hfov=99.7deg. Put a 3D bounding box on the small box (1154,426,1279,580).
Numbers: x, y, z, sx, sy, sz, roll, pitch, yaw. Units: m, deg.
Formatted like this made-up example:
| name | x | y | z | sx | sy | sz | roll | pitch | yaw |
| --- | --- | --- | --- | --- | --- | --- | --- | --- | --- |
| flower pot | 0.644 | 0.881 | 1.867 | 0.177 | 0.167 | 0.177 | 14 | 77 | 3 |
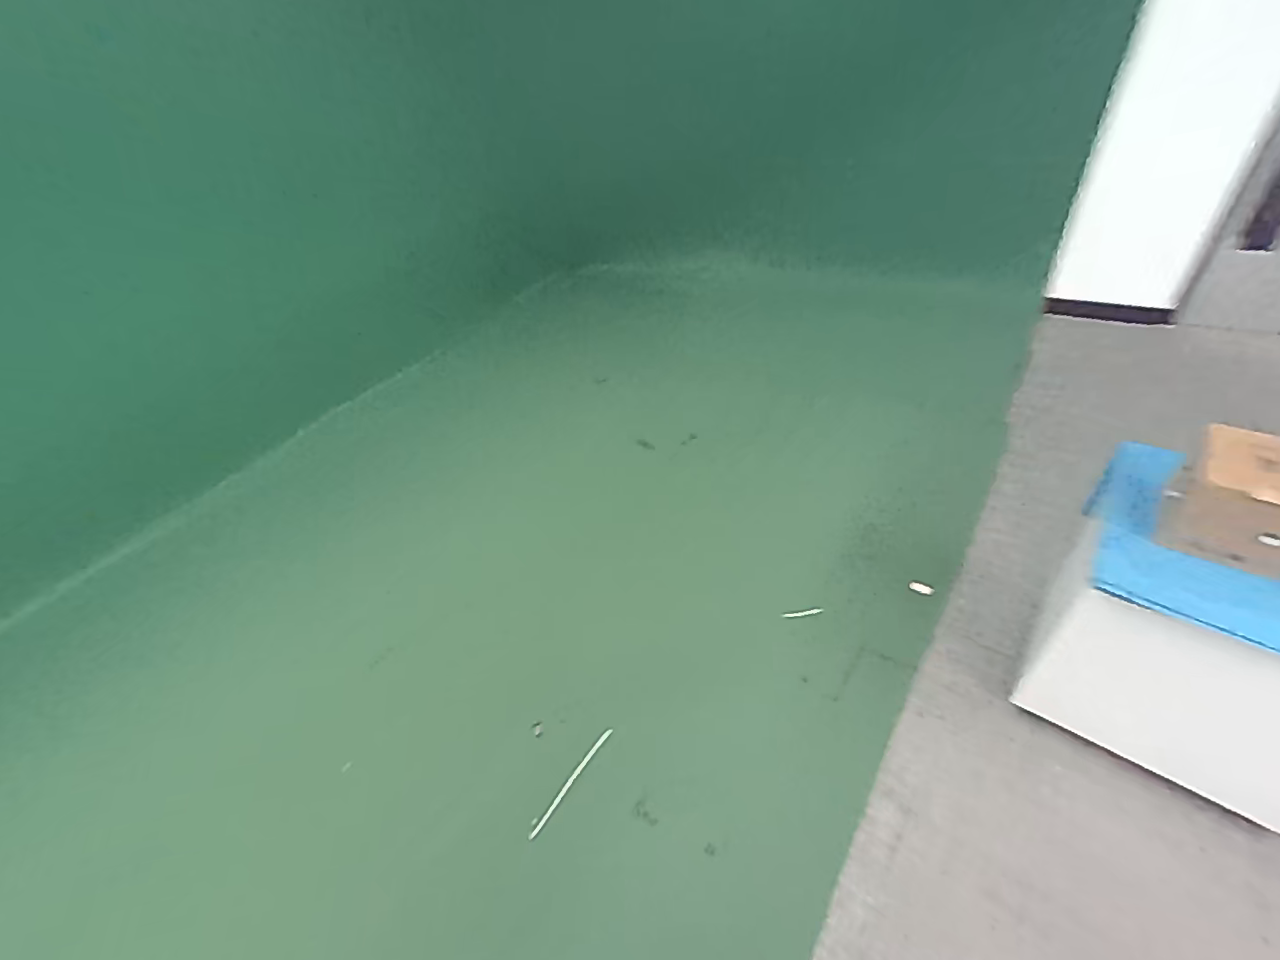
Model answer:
| name | x | y | z | sx | sy | sz | roll | pitch | yaw |
| --- | --- | --- | --- | --- | --- | --- | --- | --- | --- |
| small box | 1.041 | 0.040 | 0.938 | 0.168 | 0.176 | 0.179 | 24 | 53 | 32 |
